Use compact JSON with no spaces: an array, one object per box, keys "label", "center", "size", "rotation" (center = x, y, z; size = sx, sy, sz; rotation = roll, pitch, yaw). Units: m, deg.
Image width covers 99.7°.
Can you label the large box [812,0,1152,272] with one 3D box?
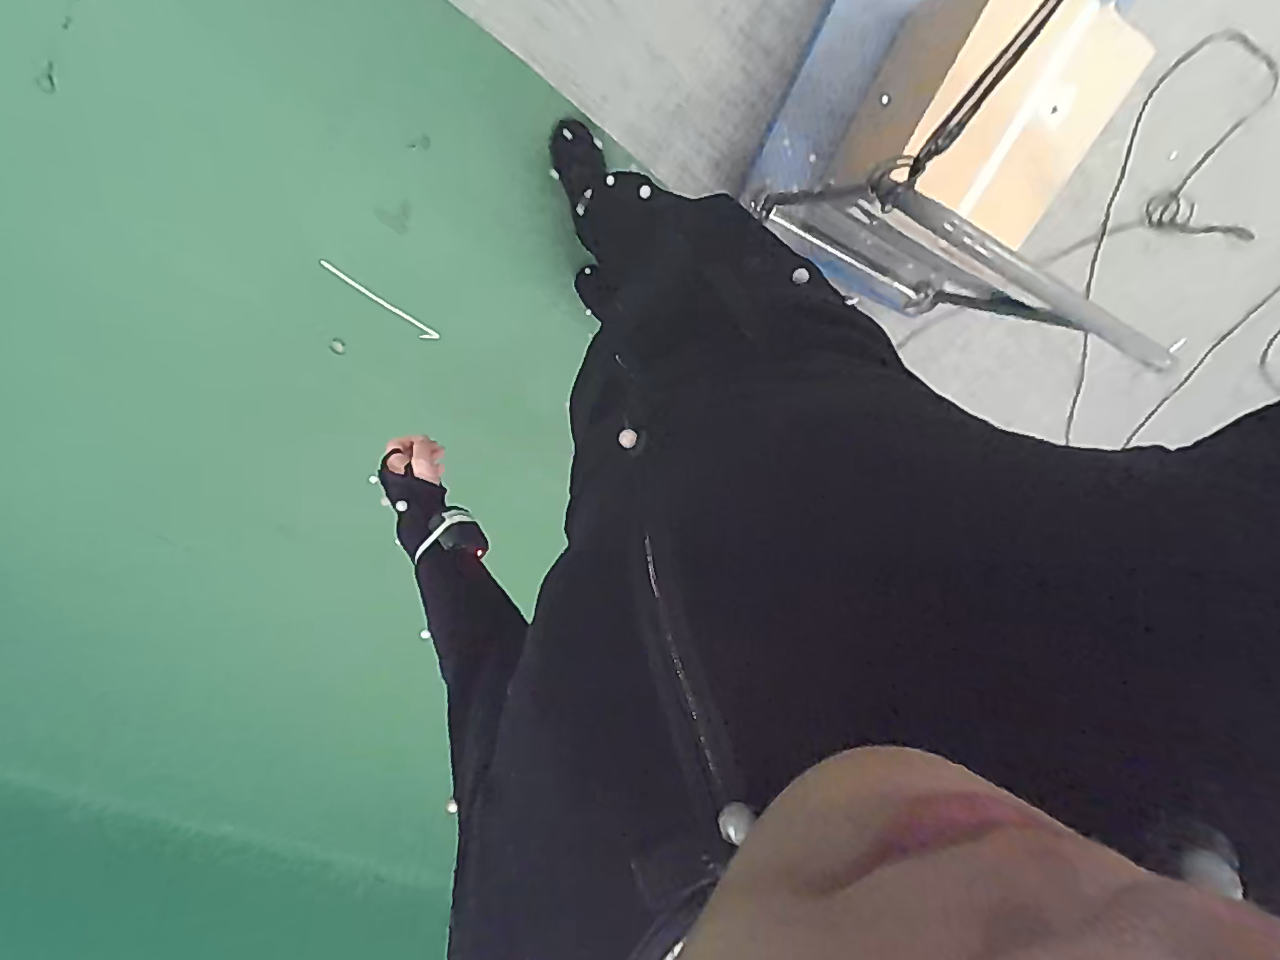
[{"label":"large box","center":[0.609,-0.675,1.052],"size":[0.320,0.320,0.408],"rotation":[20,114,-16]}]
